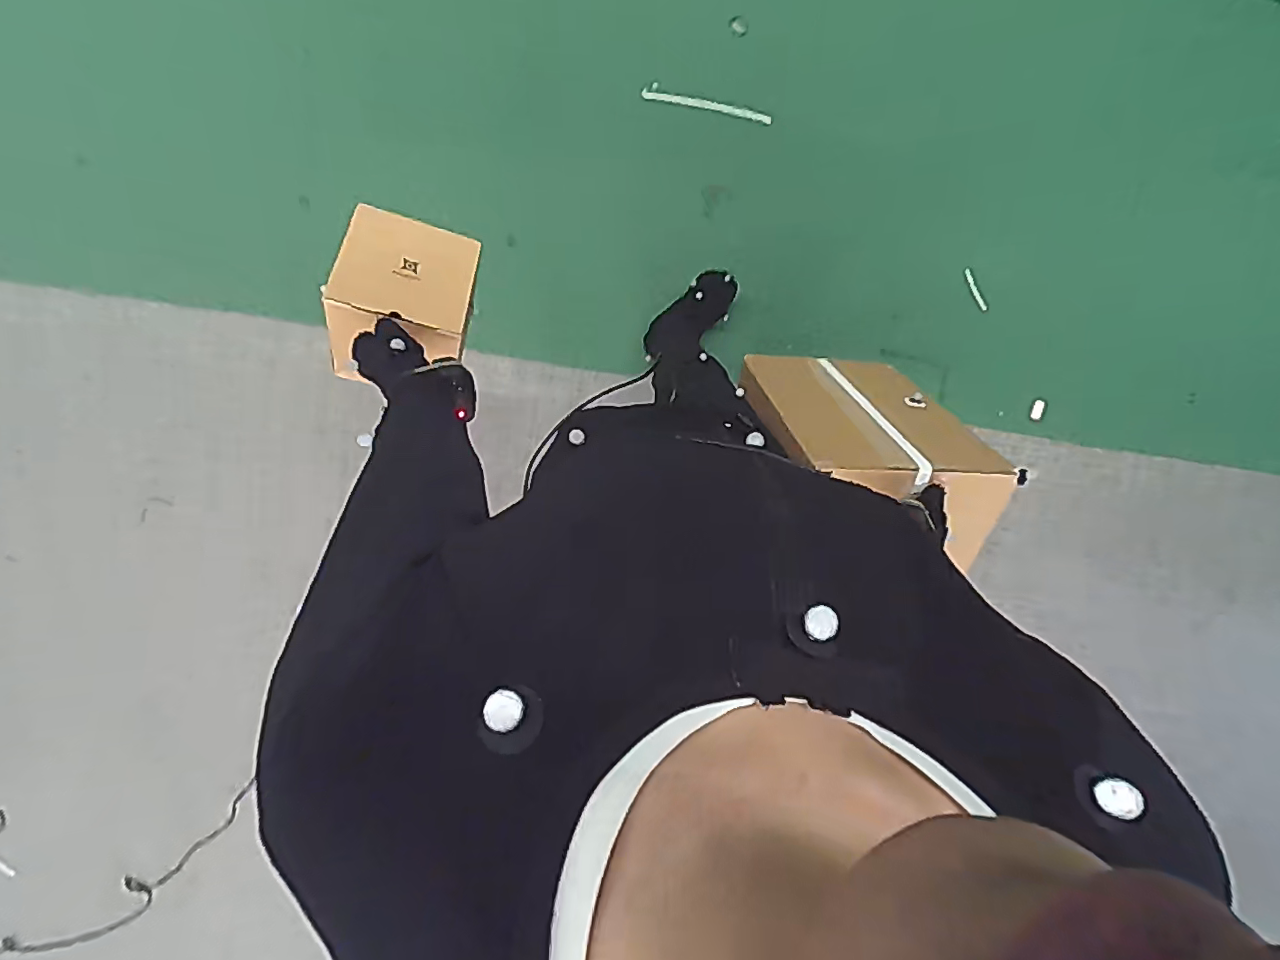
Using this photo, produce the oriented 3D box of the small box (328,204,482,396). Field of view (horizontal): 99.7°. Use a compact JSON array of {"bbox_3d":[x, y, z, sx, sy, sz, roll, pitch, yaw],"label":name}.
[{"bbox_3d":[-0.340,-0.254,0.794,0.168,0.176,0.179,11,62,-20],"label":"small box"}]
